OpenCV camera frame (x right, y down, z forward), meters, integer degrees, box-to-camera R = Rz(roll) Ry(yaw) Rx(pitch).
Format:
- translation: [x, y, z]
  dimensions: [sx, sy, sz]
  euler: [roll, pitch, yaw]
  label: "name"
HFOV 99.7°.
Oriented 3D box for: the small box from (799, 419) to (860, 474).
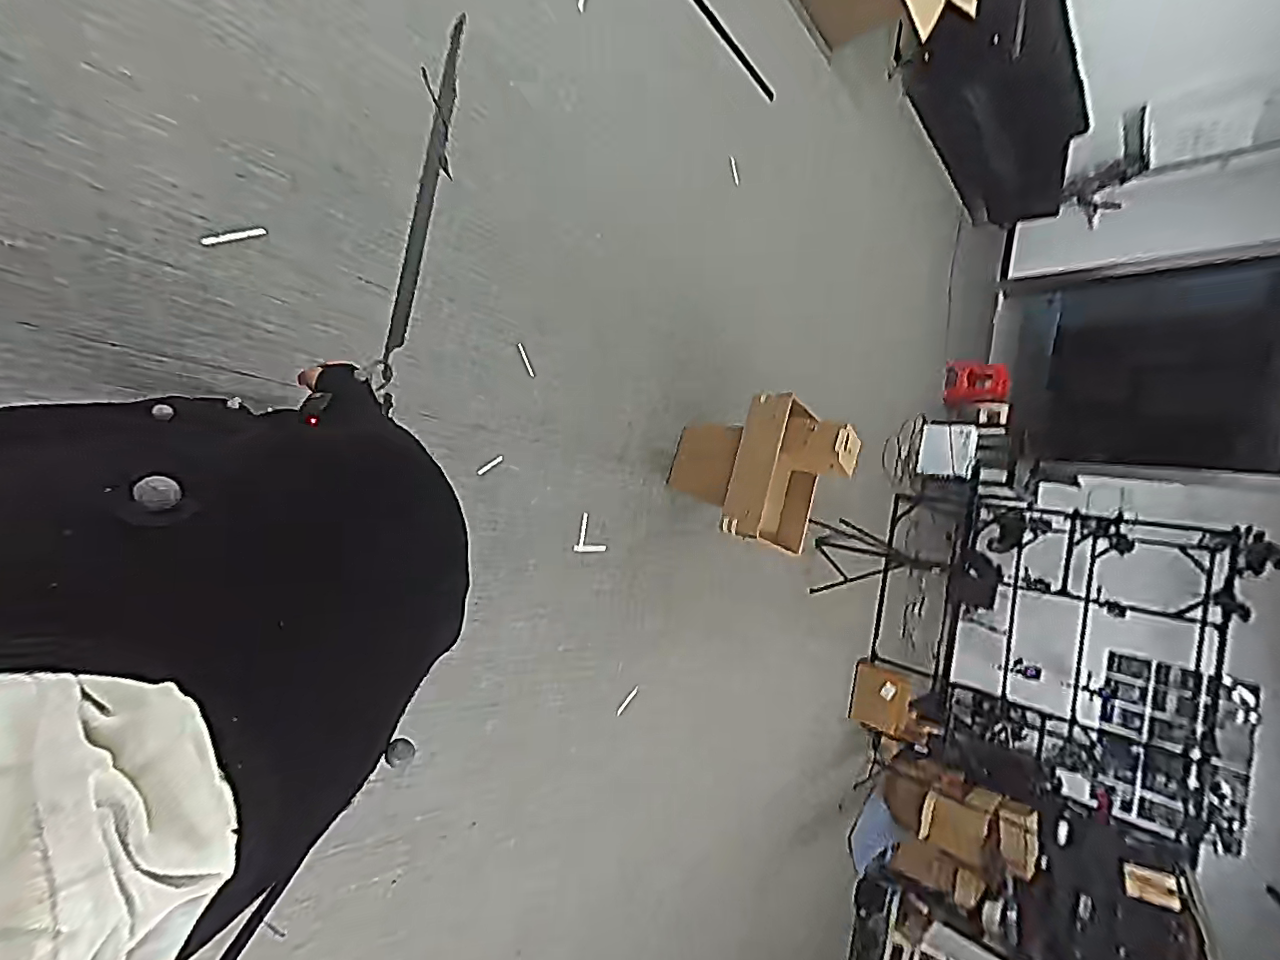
- translation: [0.774, -0.138, 2.215]
  dimensions: [0.179, 0.176, 0.168]
  euler: [35, 71, -44]
  label: "small box"
